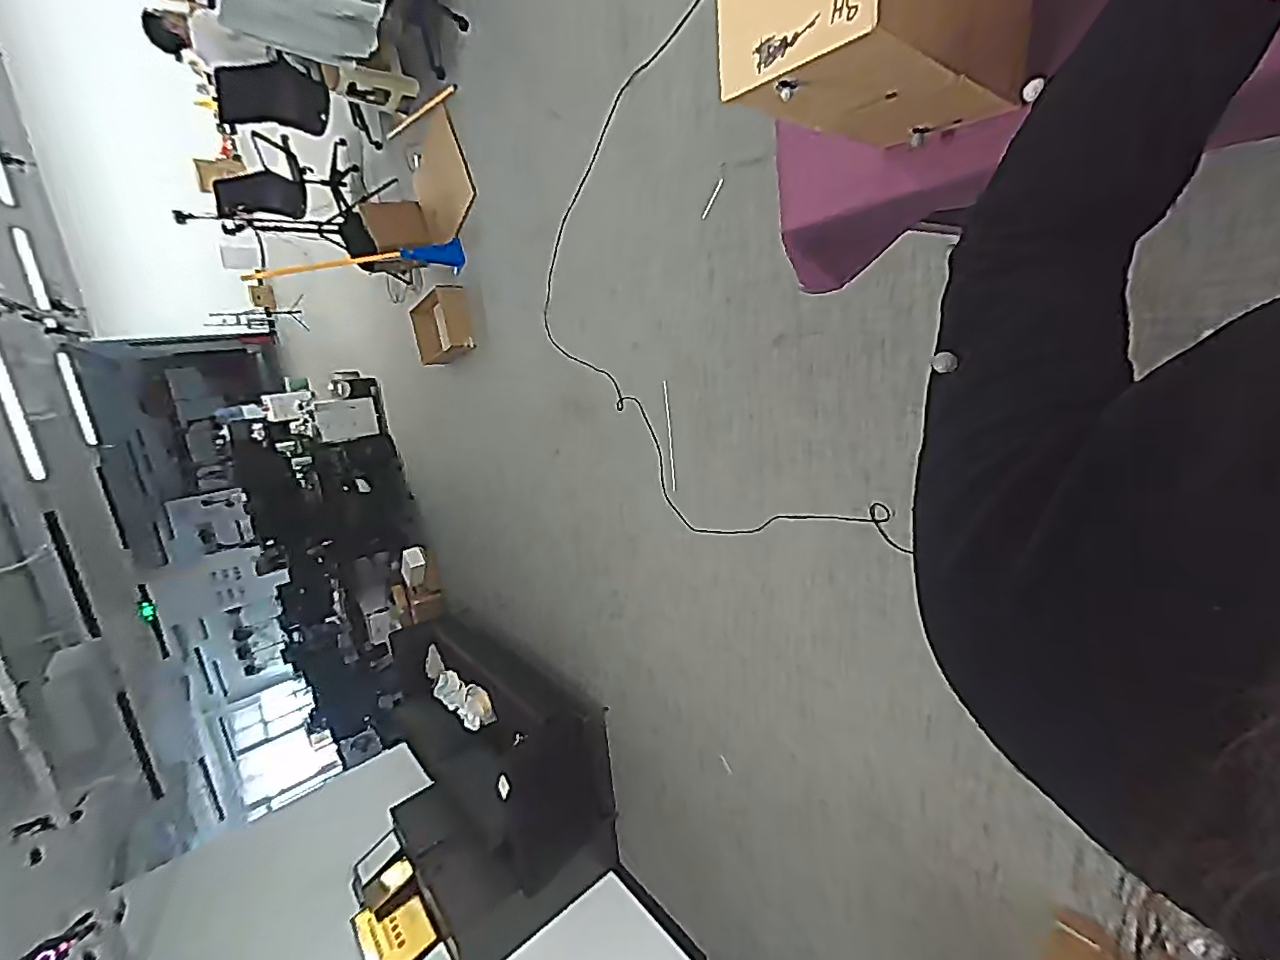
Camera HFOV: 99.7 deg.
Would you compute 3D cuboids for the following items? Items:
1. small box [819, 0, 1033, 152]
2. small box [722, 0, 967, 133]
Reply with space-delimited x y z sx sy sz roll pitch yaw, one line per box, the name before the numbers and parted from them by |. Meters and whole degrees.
small box | 0.324 -0.504 0.619 0.168 0.176 0.179 15 115 49
small box | 0.197 -0.469 0.520 0.168 0.176 0.179 16 114 50
